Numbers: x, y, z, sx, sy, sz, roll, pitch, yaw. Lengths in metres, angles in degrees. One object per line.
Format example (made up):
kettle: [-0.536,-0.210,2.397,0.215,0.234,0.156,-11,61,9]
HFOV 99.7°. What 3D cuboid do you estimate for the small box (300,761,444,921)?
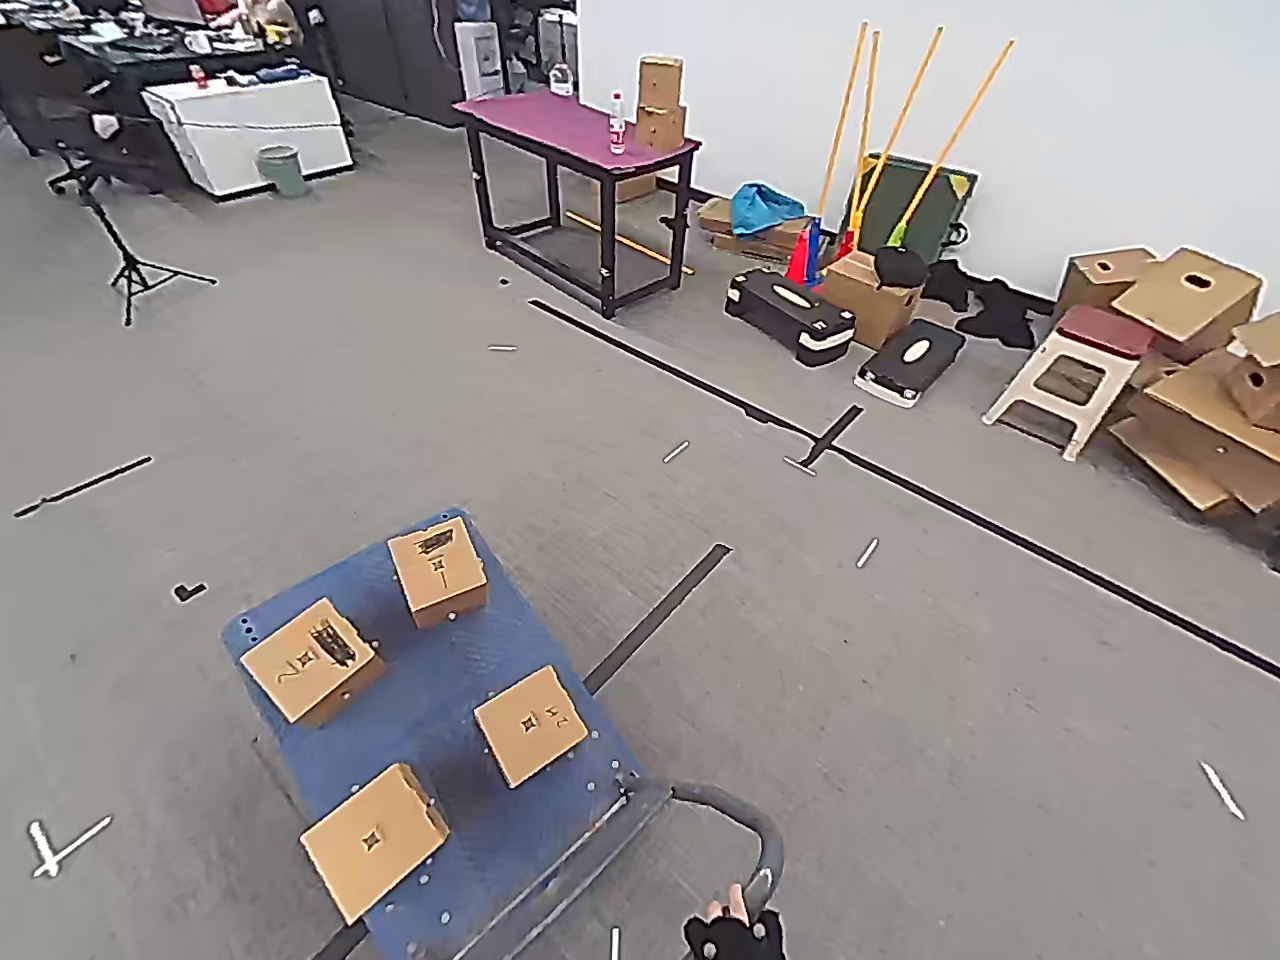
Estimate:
small box: [-0.483,0.658,1.004,0.179,0.176,0.168,-34,75,-31]

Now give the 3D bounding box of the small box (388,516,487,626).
small box: [-0.468,0.214,1.255,0.168,0.176,0.179,-20,70,-25]

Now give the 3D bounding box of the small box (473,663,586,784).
small box: [-0.238,0.520,1.151,0.179,0.176,0.168,-26,72,-27]
